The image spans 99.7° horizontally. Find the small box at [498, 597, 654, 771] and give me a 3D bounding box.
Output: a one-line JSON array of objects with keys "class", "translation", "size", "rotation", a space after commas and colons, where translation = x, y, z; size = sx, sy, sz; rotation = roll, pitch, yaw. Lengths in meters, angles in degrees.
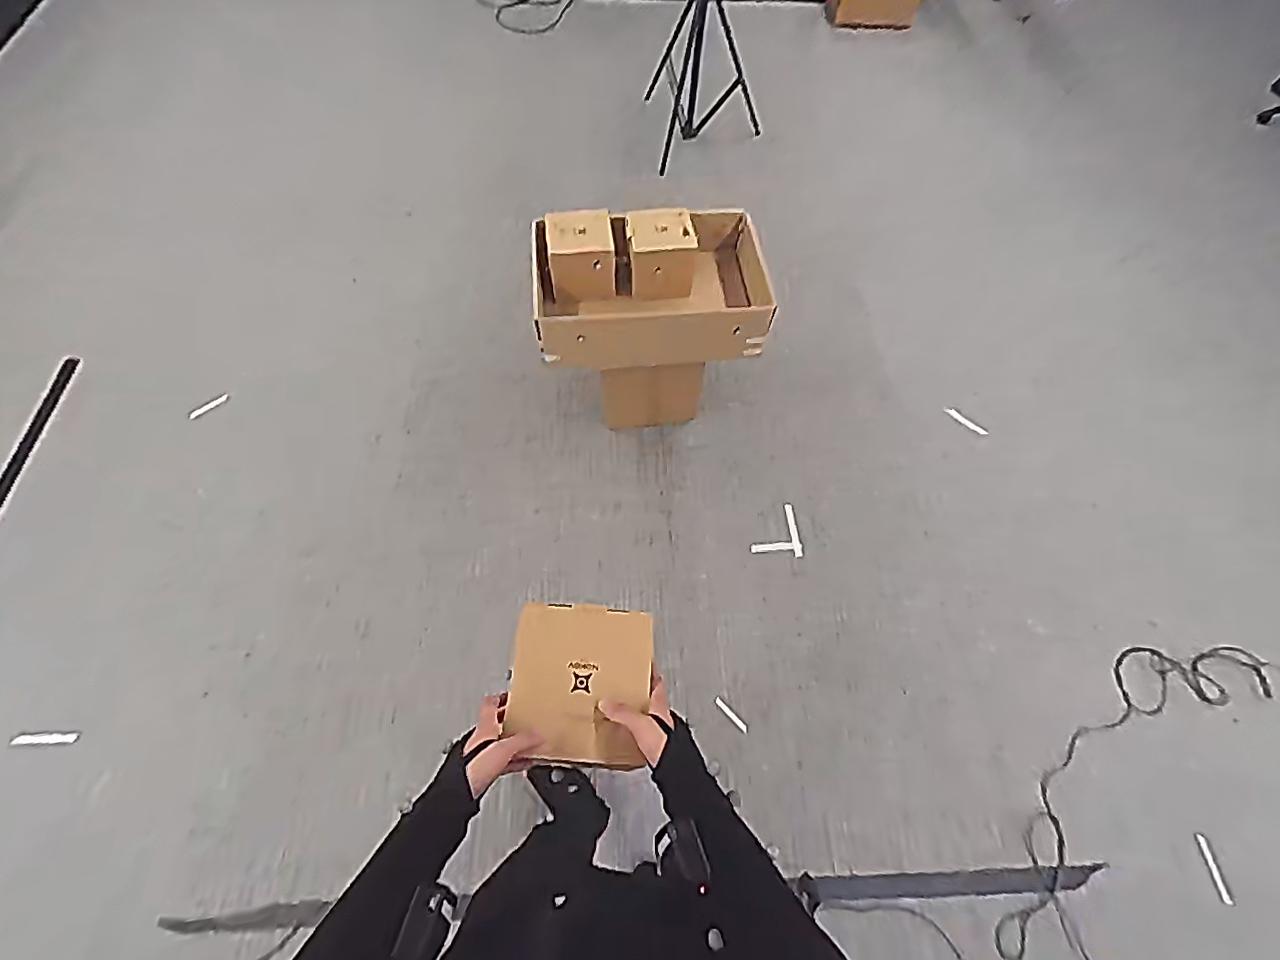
[{"class": "small box", "translation": [-0.078, 0.270, 0.703], "size": [0.168, 0.176, 0.179], "rotation": [6, 59, -3]}]
